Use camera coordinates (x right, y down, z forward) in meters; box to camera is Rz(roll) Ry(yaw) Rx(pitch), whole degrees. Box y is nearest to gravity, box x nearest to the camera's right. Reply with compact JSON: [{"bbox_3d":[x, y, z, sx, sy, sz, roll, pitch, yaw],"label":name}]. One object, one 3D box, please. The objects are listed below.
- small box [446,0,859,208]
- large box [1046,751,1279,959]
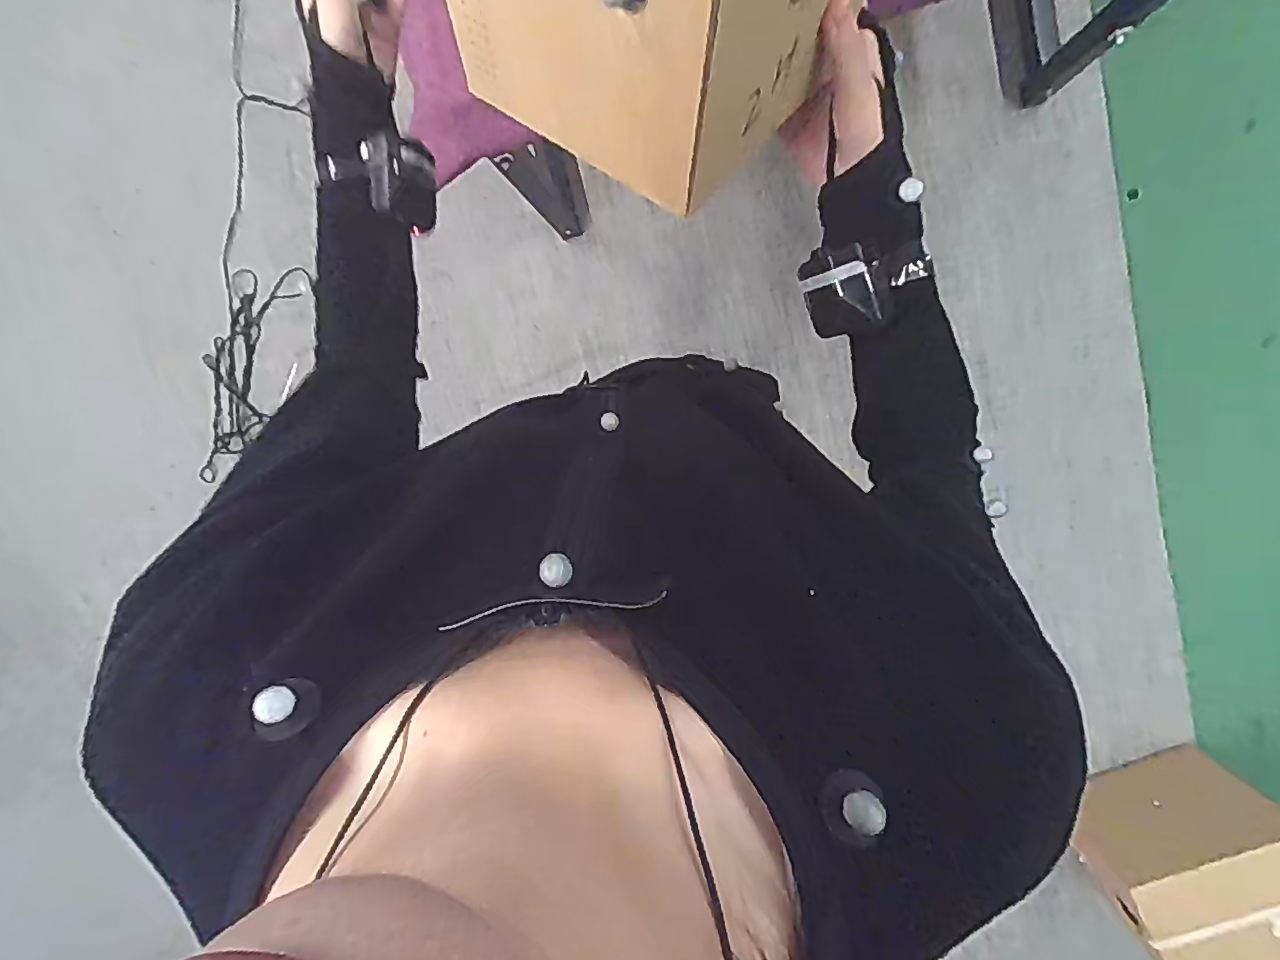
[{"bbox_3d":[0.011,-0.281,0.256,0.176,0.179,0.168,36,71,12],"label":"small box"},{"bbox_3d":[1.373,0.976,1.366,0.408,0.320,0.320,-28,96,9],"label":"large box"}]
